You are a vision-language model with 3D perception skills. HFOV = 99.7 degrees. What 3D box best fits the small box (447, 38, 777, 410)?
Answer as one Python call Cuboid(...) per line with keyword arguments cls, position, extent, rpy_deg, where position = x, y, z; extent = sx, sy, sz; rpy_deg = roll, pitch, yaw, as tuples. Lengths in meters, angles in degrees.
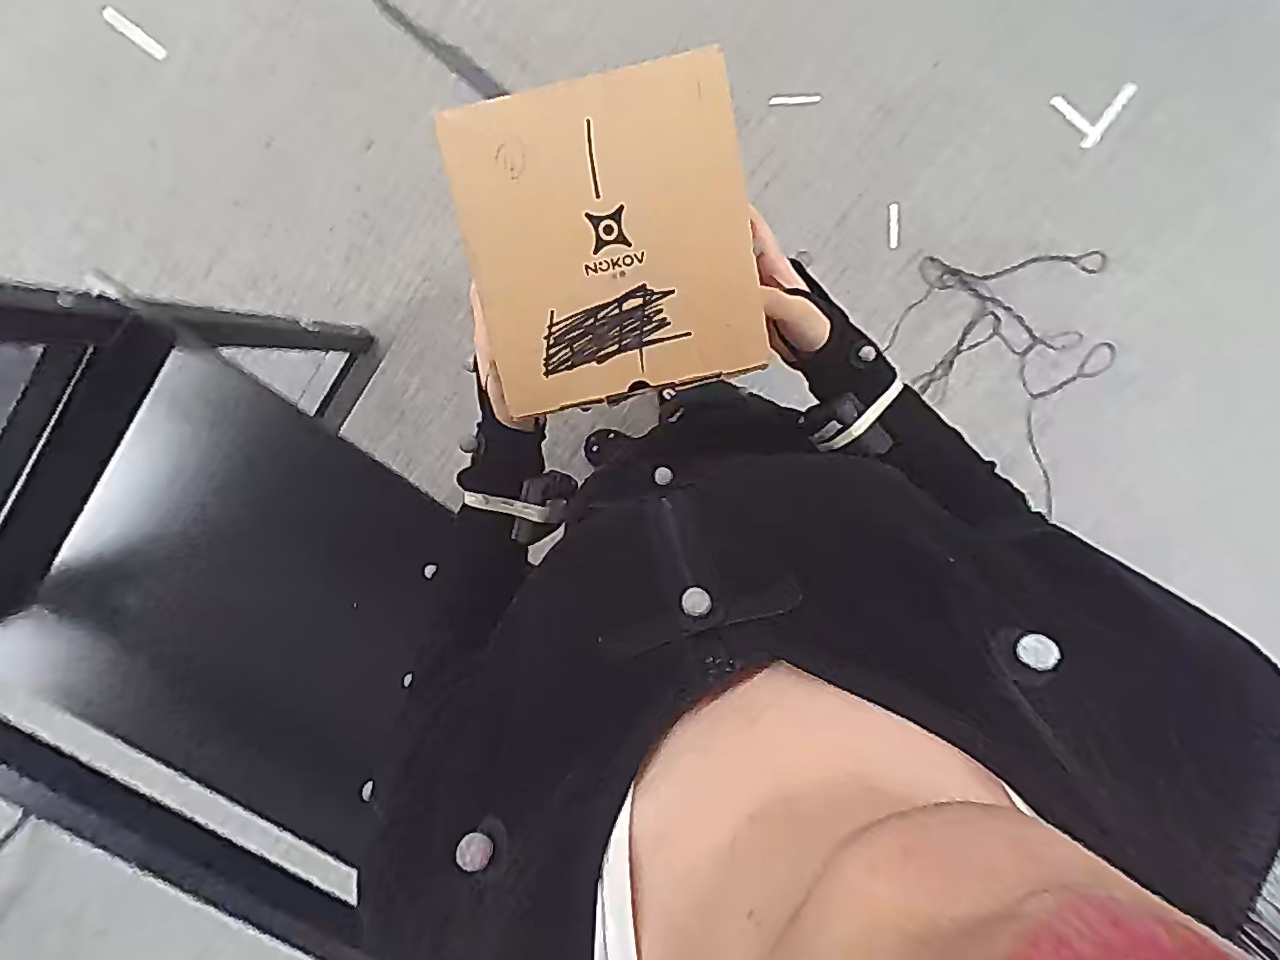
Cuboid(cls="small box", position=(-0.011, -0.159, 0.389), extent=(0.168, 0.176, 0.179), rpy_deg=(-11, 103, 2))
